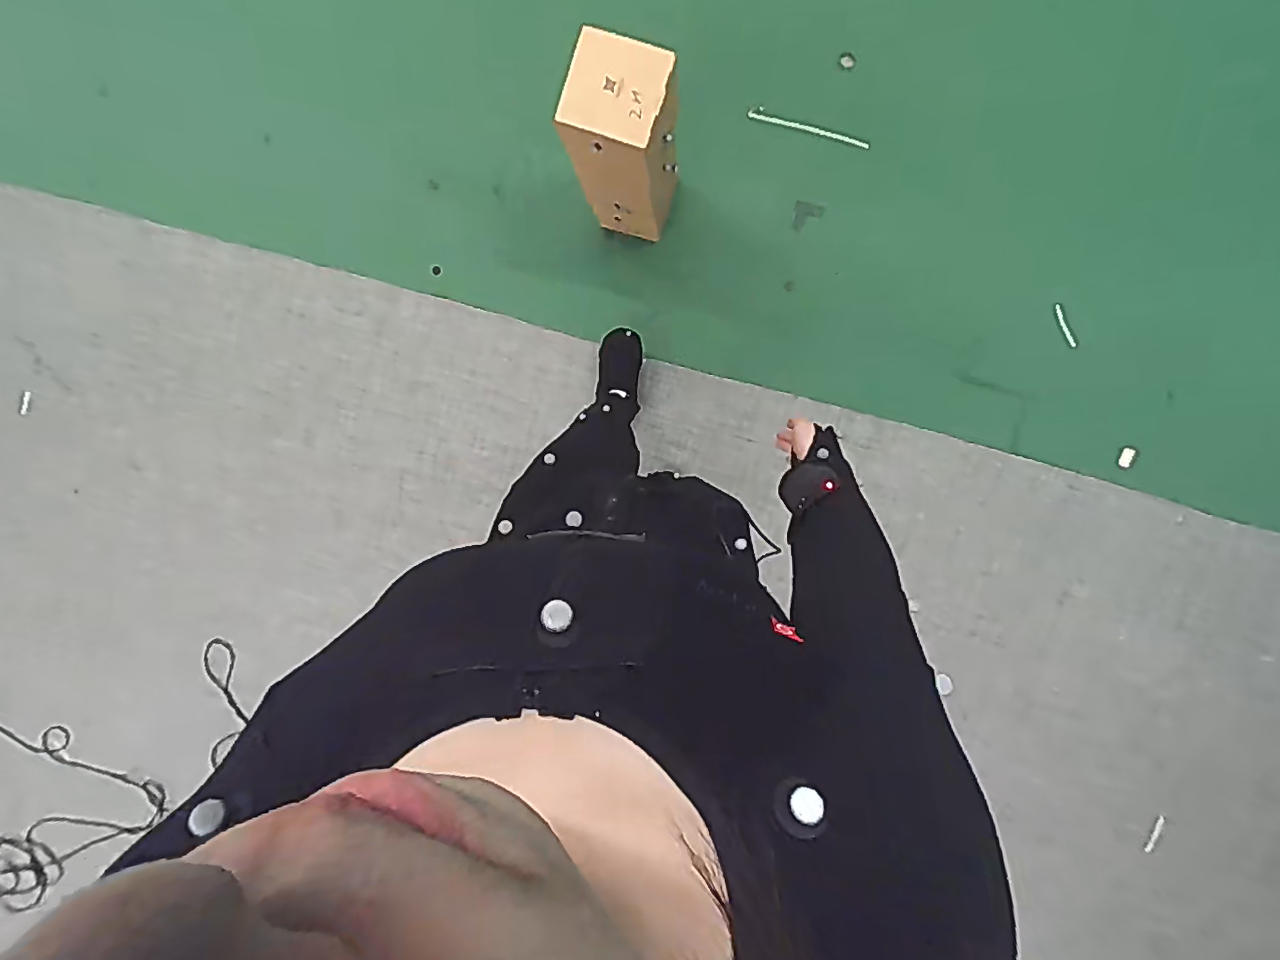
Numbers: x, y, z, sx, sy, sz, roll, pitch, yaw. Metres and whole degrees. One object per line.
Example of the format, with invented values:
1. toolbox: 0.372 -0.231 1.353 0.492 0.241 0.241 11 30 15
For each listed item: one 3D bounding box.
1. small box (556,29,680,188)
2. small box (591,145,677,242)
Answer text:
1. small box: -0.033 -0.681 1.014 0.179 0.176 0.168 20 97 3
2. small box: -0.007 -0.718 1.340 0.168 0.176 0.179 17 96 3
